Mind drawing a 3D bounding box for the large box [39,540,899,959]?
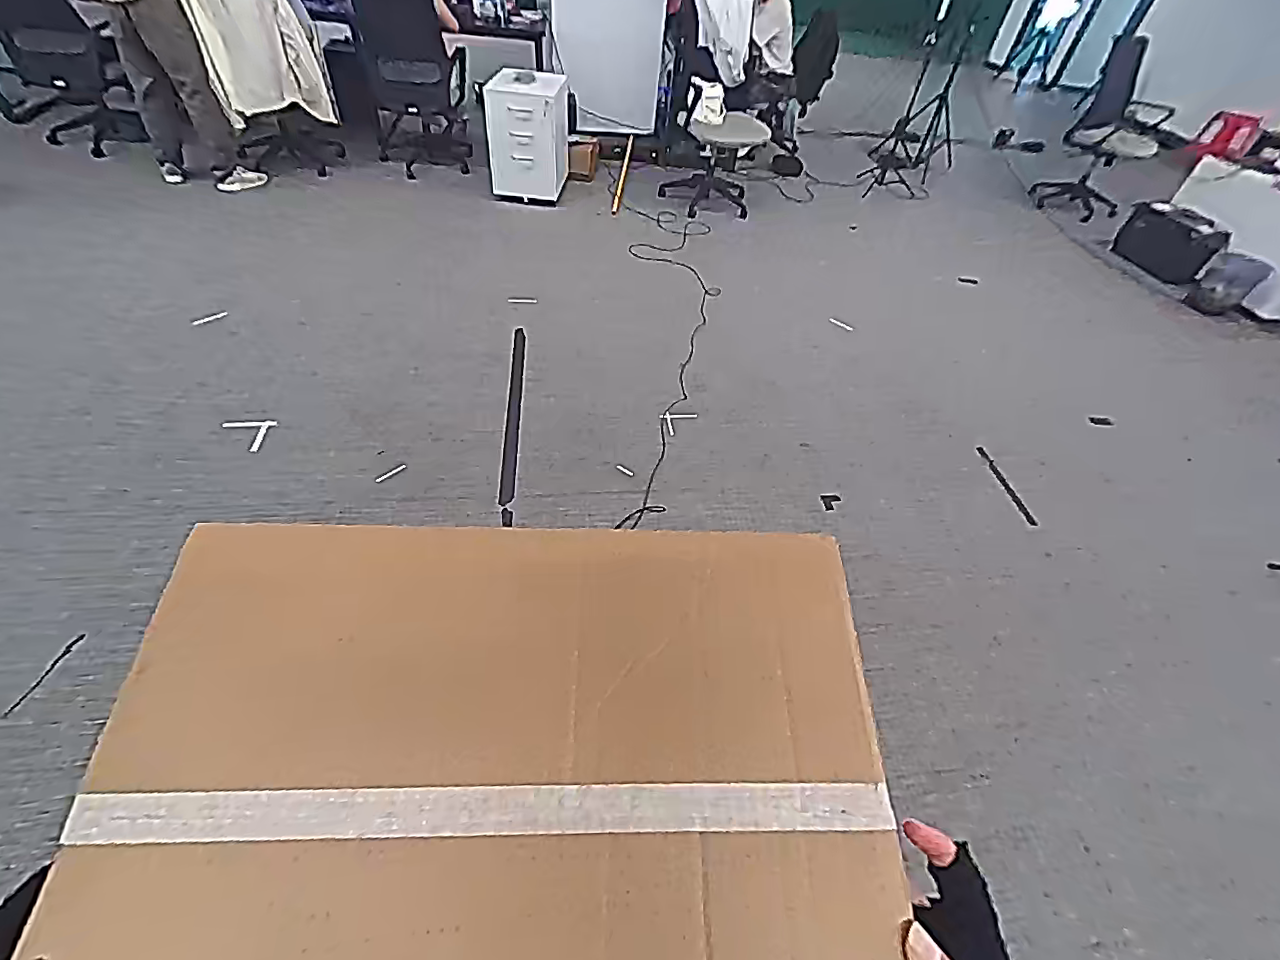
[{"bbox_3d":[-0.082,0.248,0.410,0.408,0.320,0.320,1,61,-3],"label":"large box"}]
